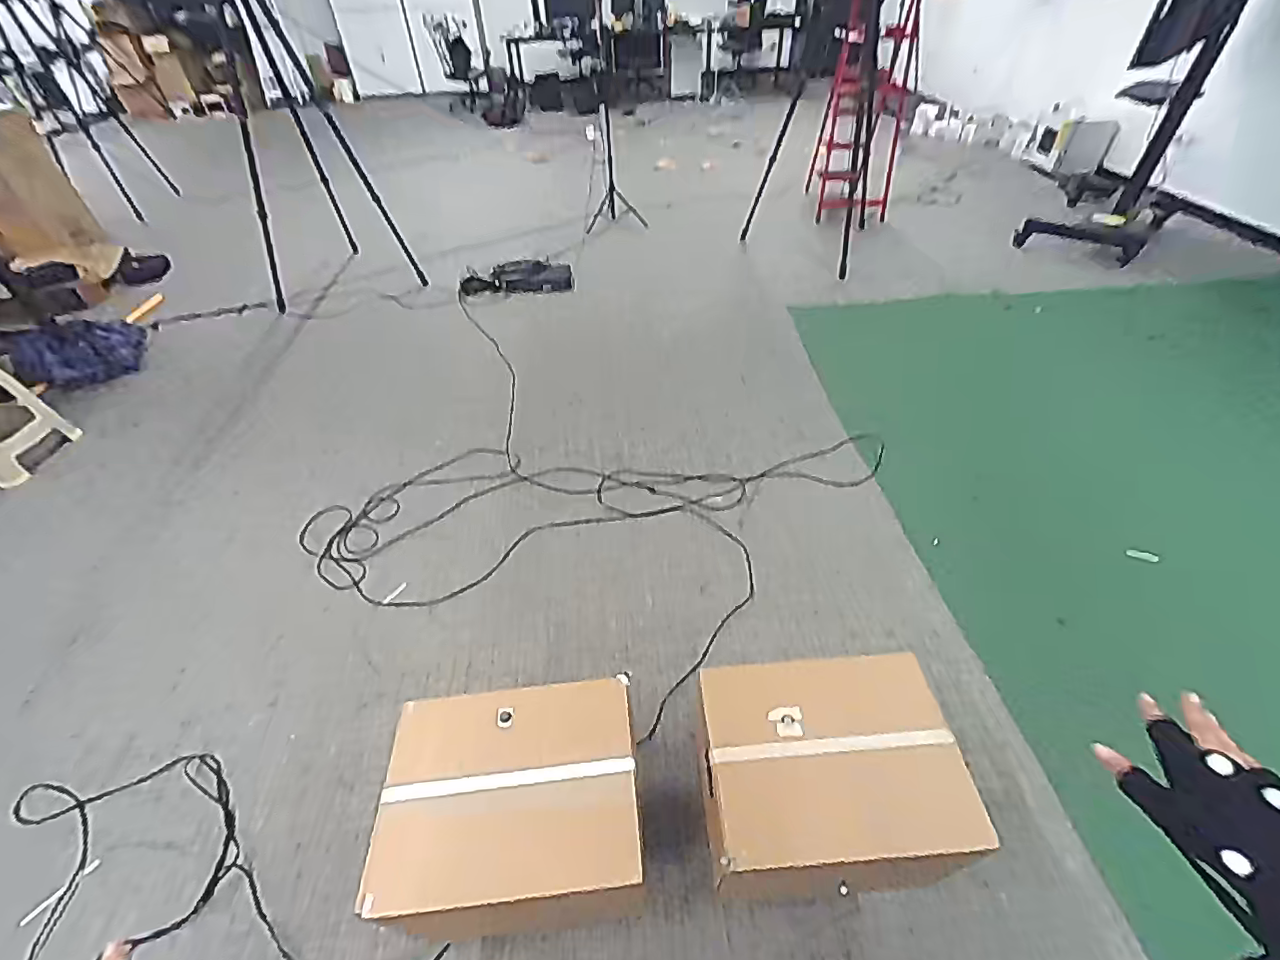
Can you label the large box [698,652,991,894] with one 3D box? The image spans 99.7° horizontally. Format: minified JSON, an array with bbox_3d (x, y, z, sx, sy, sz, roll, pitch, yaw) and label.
[{"bbox_3d":[0.332,0.553,1.017,0.408,0.320,0.320,-4,44,-1],"label":"large box"}]
